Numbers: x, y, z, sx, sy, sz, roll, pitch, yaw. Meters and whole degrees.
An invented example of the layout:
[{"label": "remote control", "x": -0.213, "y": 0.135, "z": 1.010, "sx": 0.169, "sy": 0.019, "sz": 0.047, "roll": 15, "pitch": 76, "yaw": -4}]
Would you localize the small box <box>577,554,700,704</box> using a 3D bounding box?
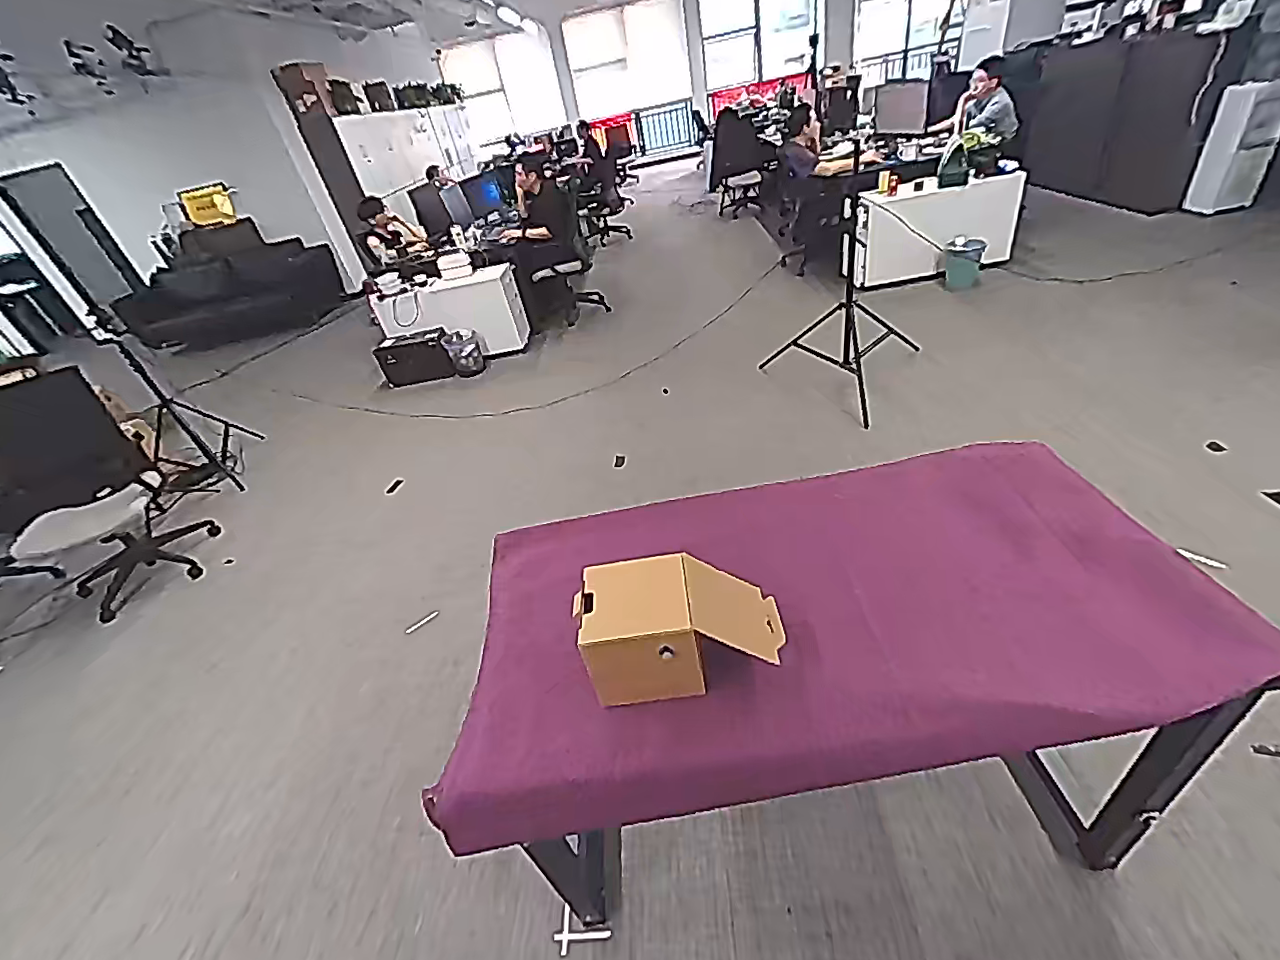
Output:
[{"label": "small box", "x": 0.004, "y": 0.251, "z": 0.909, "sx": 0.179, "sy": 0.176, "sz": 0.168, "roll": -10, "pitch": 34, "yaw": 5}]
